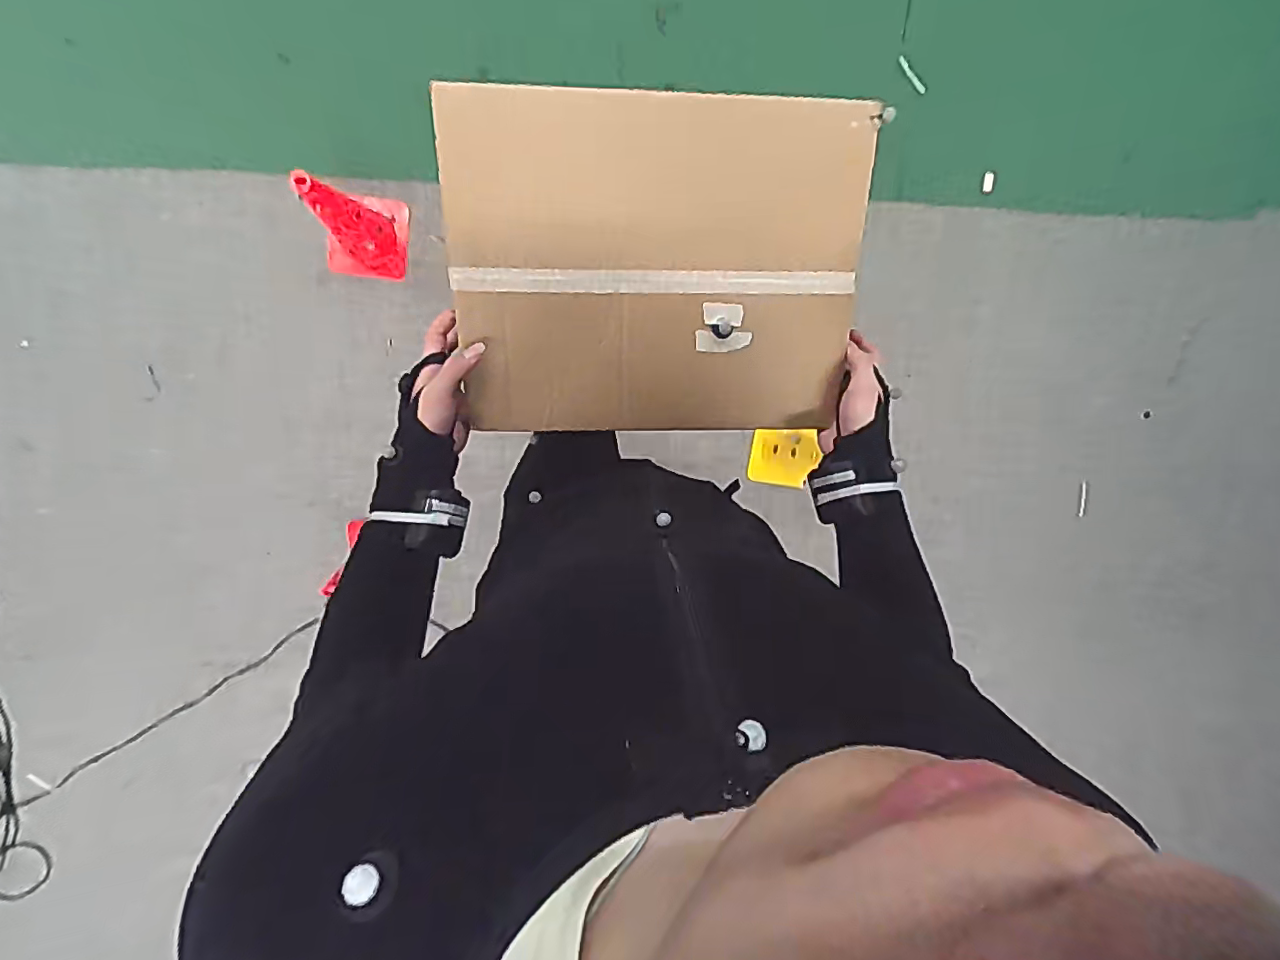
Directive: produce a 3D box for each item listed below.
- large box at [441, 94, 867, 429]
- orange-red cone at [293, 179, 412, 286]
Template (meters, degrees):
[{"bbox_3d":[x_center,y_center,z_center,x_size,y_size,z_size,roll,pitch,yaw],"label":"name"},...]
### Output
[{"bbox_3d":[0.006,-0.260,0.687,0.408,0.320,0.320,-2,113,-5],"label":"large box"},{"bbox_3d":[-0.705,-0.609,1.273,0.199,0.360,0.198,7,95,-5],"label":"orange-red cone"}]
